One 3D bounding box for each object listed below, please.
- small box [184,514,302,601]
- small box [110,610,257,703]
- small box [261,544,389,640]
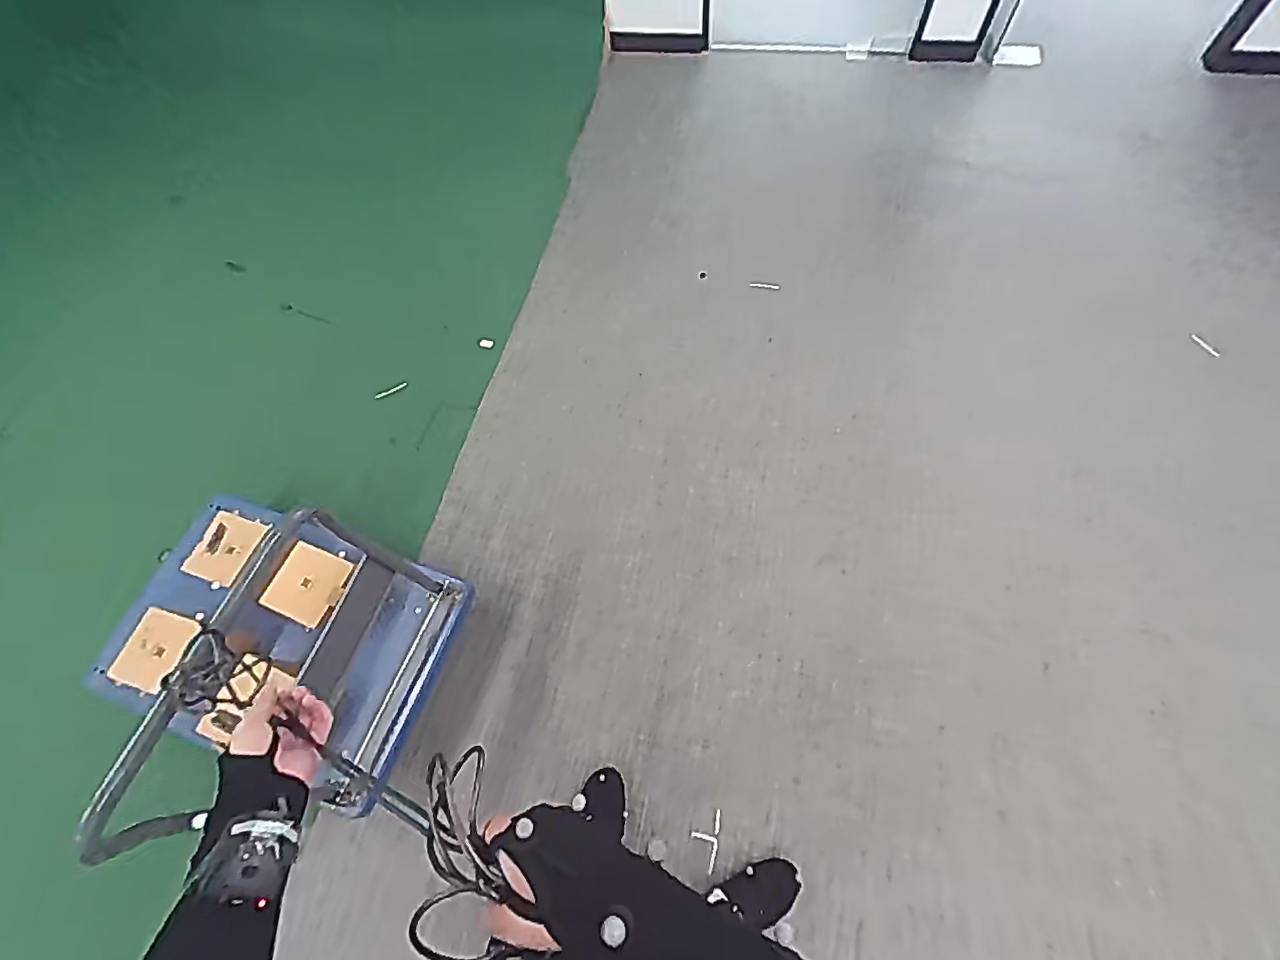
[{"bbox_3d":[-1.003,0.212,1.405,0.179,0.176,0.168,16,68,11],"label":"small box"},{"bbox_3d":[-1.092,0.433,1.312,0.179,0.176,0.168,13,67,11],"label":"small box"},{"bbox_3d":[-0.776,0.286,1.351,0.179,0.176,0.168,19,68,13],"label":"small box"}]
